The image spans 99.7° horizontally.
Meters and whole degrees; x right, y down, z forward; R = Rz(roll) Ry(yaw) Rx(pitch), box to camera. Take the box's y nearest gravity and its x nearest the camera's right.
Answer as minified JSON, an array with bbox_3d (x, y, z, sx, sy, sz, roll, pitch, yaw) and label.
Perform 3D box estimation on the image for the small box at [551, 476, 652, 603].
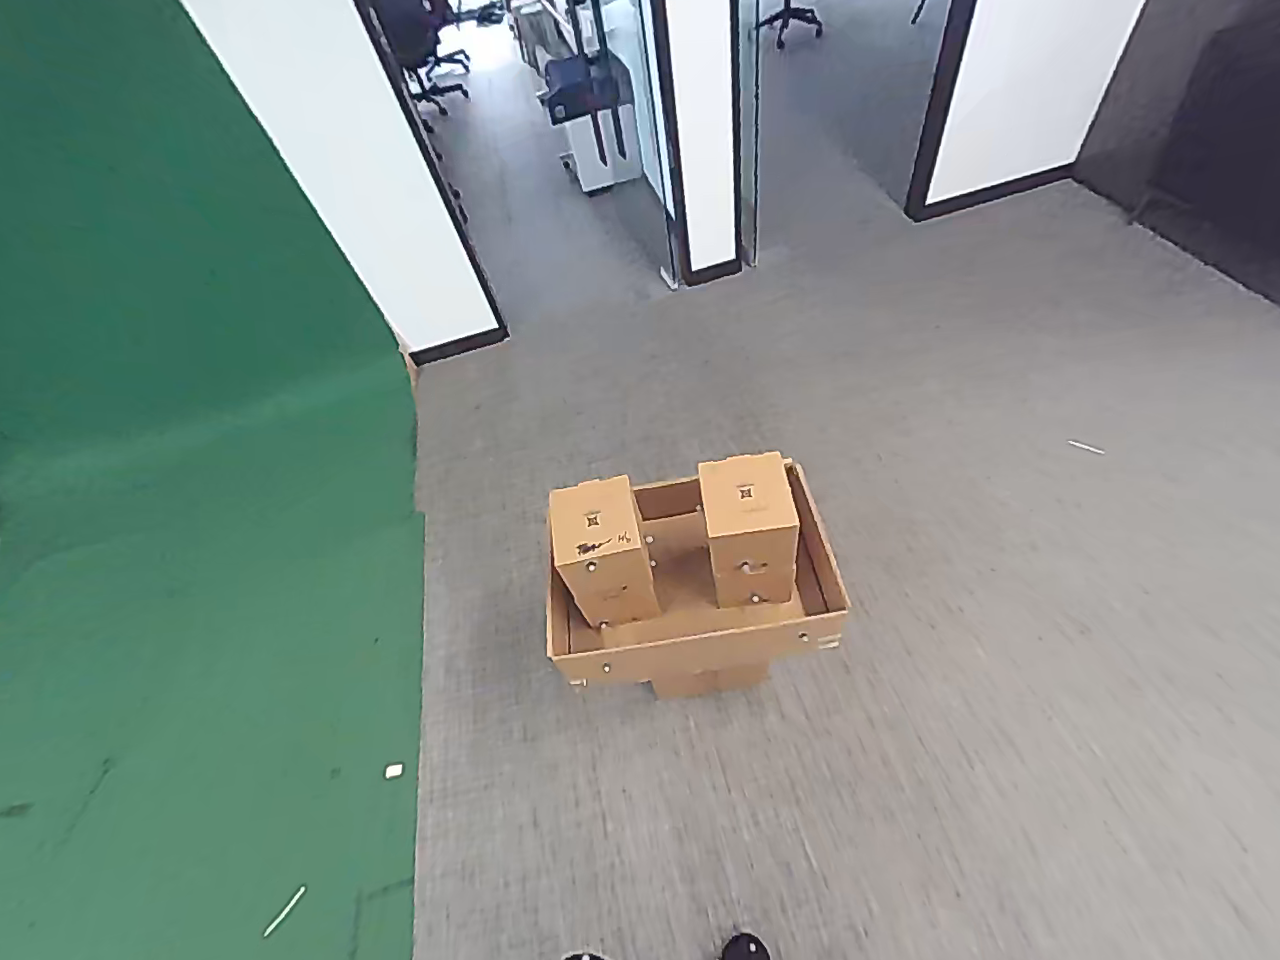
[{"bbox_3d":[-0.077,0.122,1.092,0.168,0.176,0.179,-13,52,2],"label":"small box"}]

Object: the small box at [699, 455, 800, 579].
[{"bbox_3d":[0.210,0.076,1.073,0.168,0.176,0.179,-8,52,6],"label":"small box"}]

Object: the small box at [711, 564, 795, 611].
[{"bbox_3d":[0.240,0.172,1.202,0.168,0.176,0.179,-7,53,6],"label":"small box"}]
